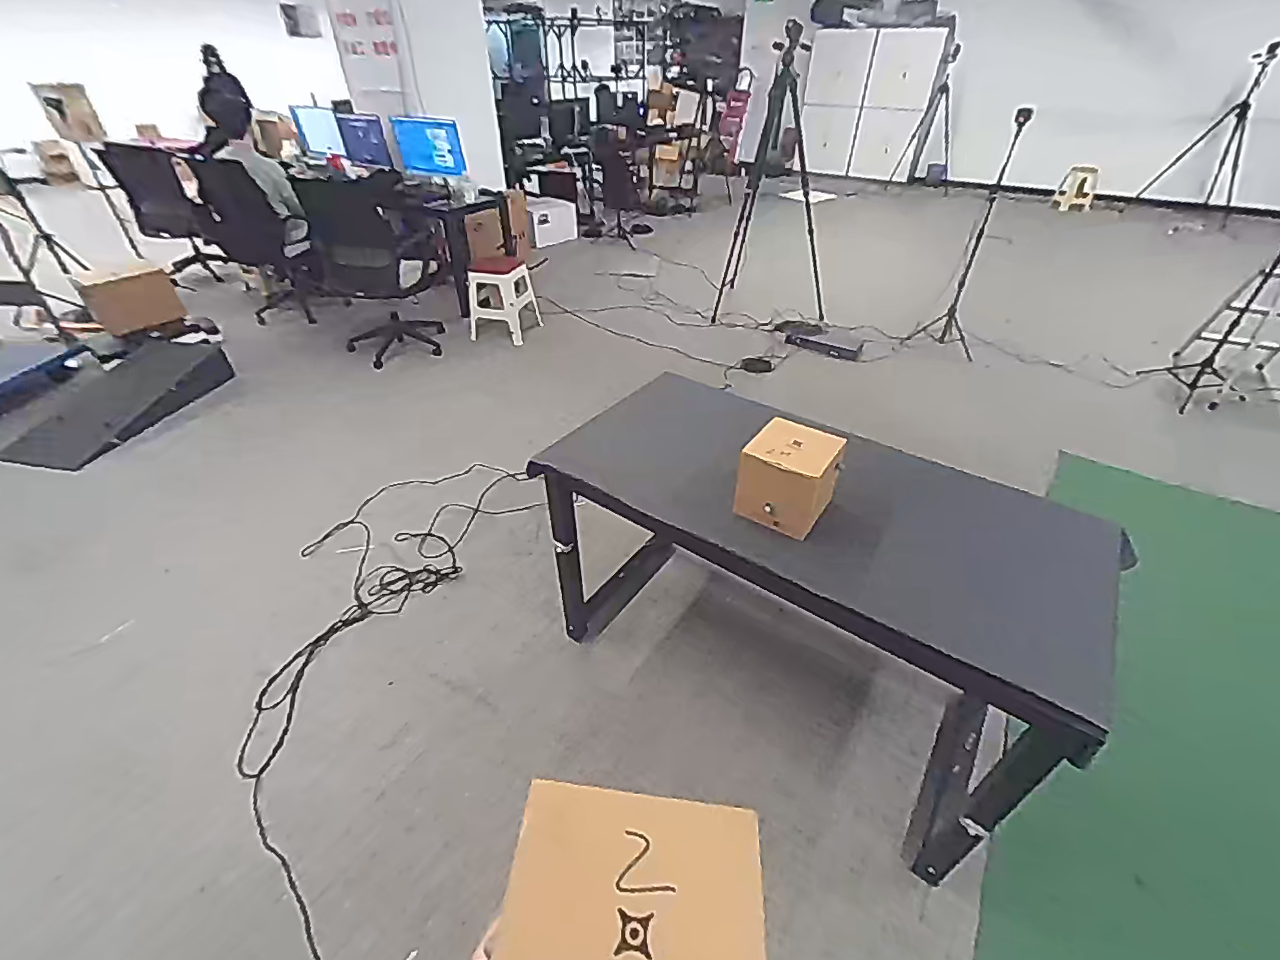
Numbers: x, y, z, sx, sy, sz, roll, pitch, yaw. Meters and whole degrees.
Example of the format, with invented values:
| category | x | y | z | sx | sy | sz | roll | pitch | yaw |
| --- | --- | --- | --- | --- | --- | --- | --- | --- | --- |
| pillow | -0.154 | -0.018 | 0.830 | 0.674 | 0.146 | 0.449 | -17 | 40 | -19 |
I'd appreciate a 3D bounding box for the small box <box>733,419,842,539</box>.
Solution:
| category | x | y | z | sx | sy | sz | roll | pitch | yaw |
| --- | --- | --- | --- | --- | --- | --- | --- | --- | --- |
| small box | 0.315 | -0.004 | 1.178 | 0.168 | 0.176 | 0.179 | 23 | 43 | 27 |
